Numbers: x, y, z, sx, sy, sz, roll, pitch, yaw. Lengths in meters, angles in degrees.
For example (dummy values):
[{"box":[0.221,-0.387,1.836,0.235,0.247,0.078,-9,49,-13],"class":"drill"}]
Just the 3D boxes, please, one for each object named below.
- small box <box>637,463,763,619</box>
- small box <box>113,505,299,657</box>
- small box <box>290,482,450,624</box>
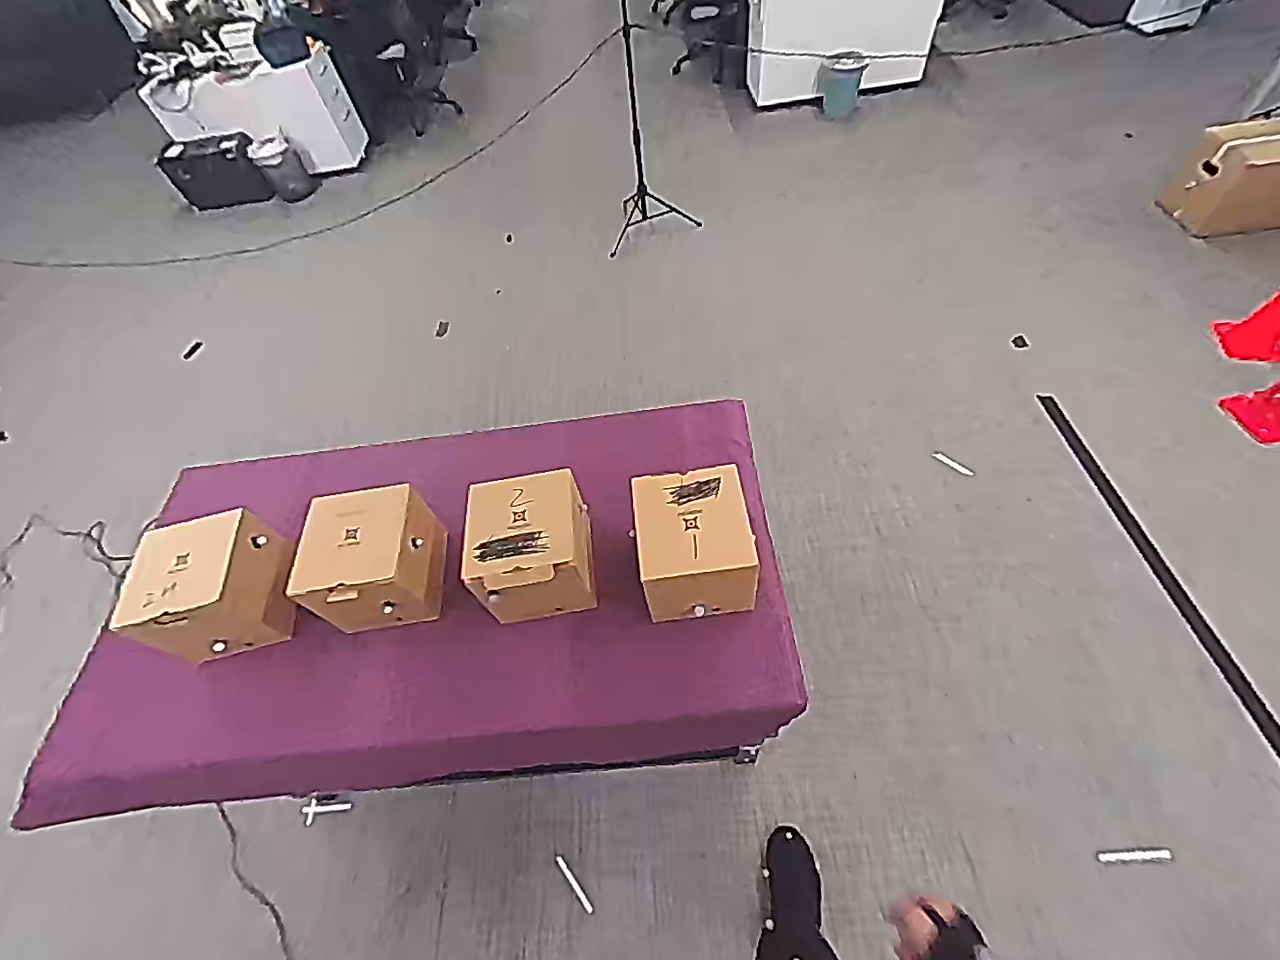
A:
[{"box":[0.089,0.099,0.847,0.168,0.176,0.179,-8,55,3],"class":"small box"},{"box":[-0.700,0.172,0.905,0.168,0.176,0.179,-14,55,-2],"class":"small box"},{"box":[-0.433,0.129,0.901,0.168,0.176,0.179,-8,55,1],"class":"small box"}]
